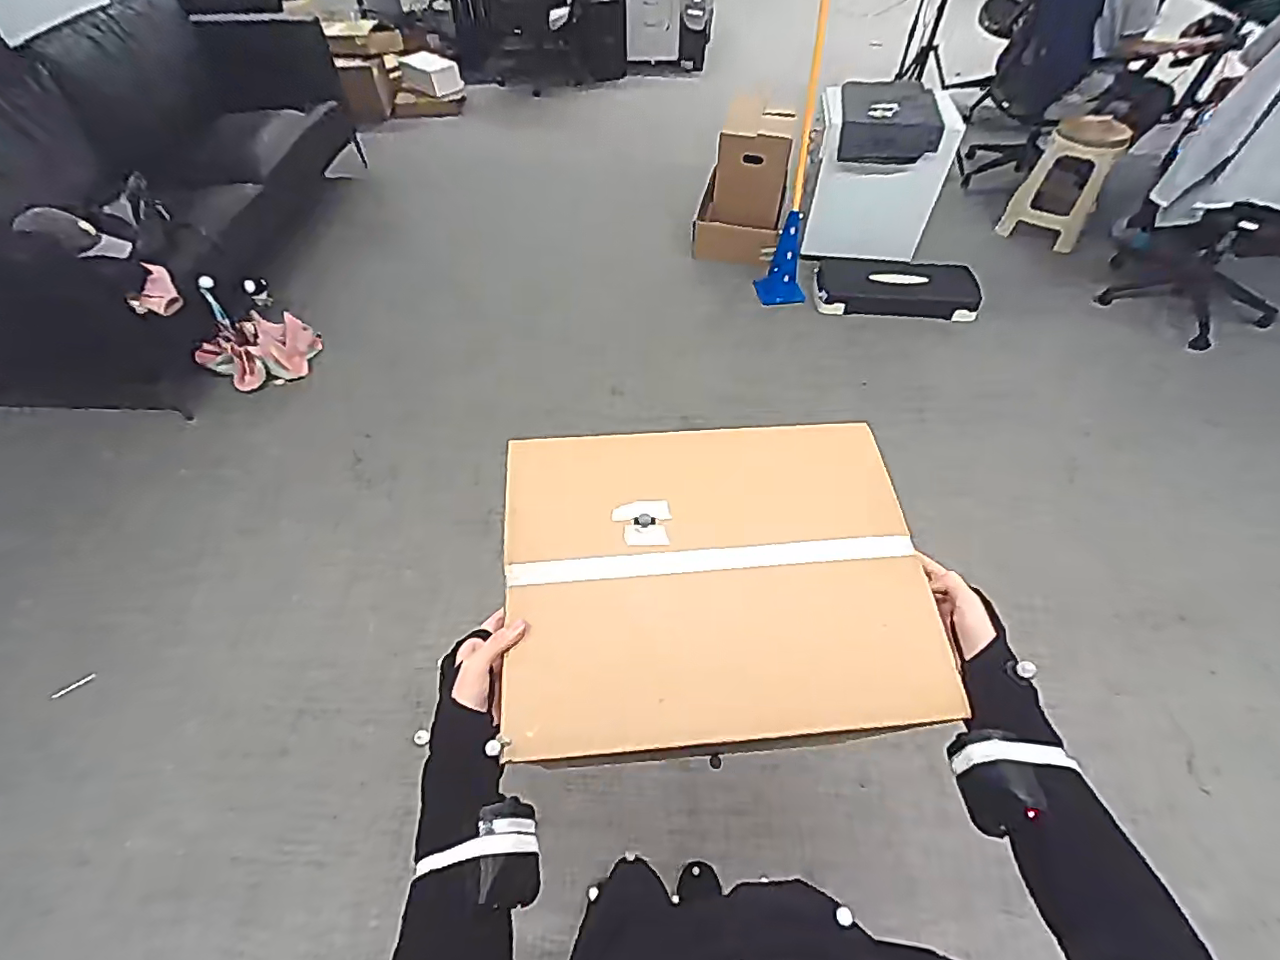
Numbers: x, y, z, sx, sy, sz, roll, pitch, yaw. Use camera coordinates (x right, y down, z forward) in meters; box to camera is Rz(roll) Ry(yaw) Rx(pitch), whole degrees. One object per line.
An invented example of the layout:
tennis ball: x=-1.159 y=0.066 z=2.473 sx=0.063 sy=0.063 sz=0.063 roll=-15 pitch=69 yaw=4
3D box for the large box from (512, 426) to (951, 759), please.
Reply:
large box: x=0.072 y=0.156 z=0.676 sx=0.408 sy=0.320 sz=0.320 roll=-4 pitch=61 yaw=-3
